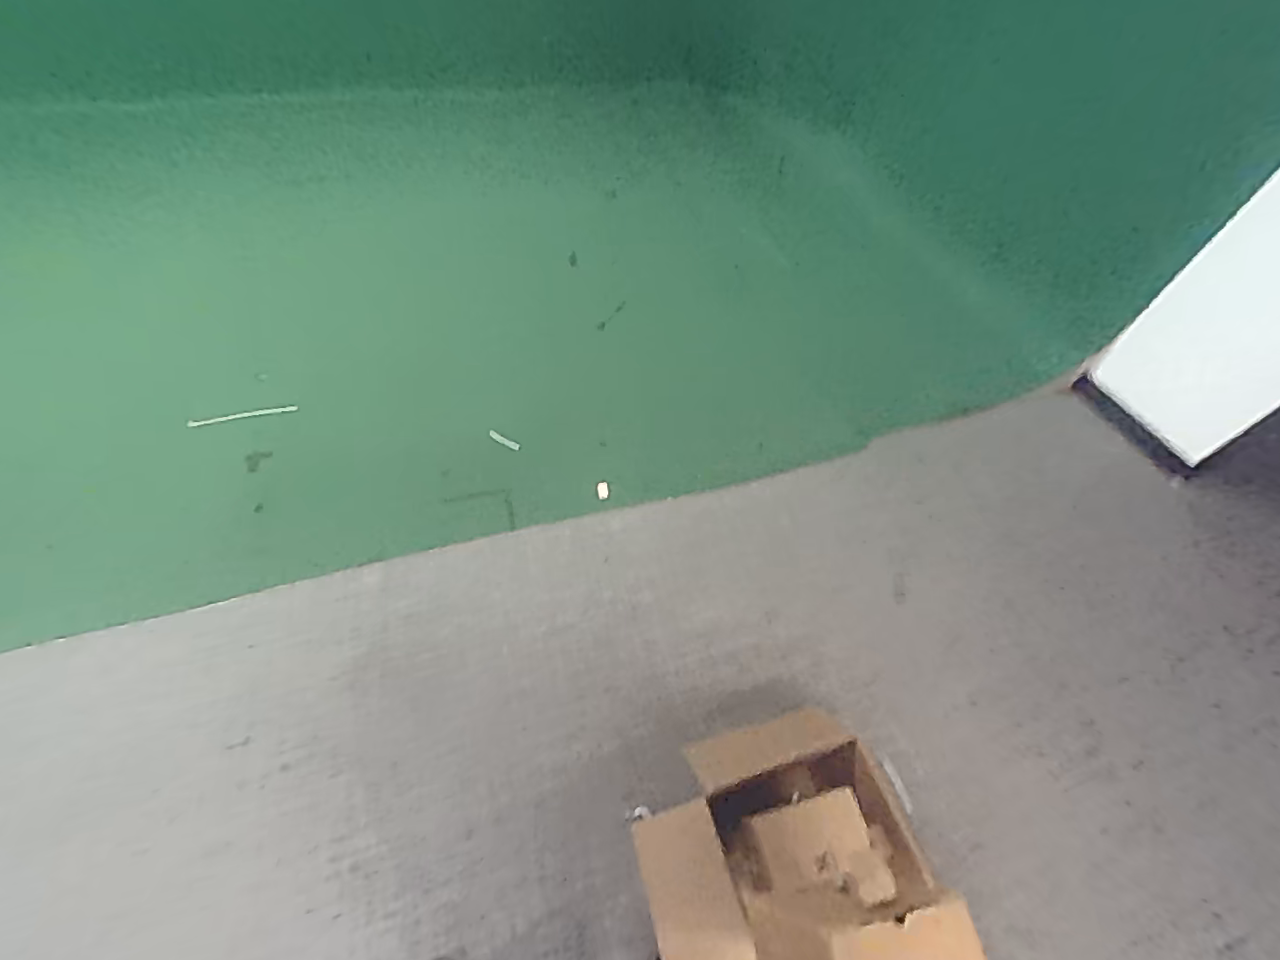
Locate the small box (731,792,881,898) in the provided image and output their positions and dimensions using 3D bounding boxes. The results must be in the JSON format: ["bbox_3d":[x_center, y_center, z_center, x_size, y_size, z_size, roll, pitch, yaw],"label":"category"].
[{"bbox_3d":[0.270,0.636,0.899,0.179,0.176,0.168,-11,58,-10],"label":"small box"}]

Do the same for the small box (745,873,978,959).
[{"bbox_3d":[0.229,0.529,0.549,0.168,0.176,0.179,2,61,-19],"label":"small box"}]
